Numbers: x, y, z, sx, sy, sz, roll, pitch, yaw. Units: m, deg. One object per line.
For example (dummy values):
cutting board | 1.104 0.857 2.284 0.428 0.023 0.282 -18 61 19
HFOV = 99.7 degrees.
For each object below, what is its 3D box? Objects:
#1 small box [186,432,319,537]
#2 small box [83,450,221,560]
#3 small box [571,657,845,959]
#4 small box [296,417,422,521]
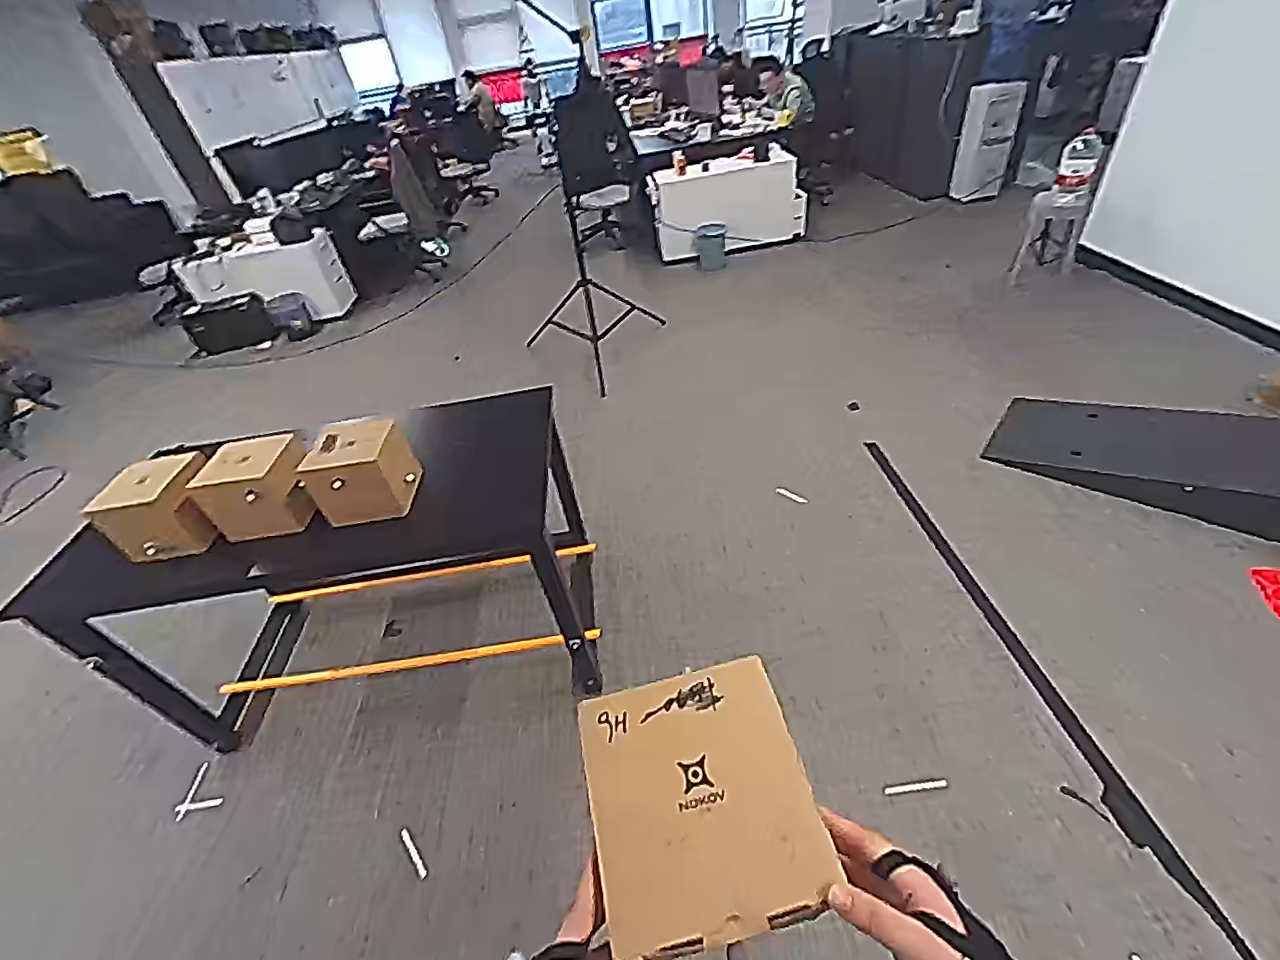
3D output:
small box | -0.874 0.012 1.255 0.179 0.176 0.168 -9 39 2
small box | -1.089 0.058 1.249 0.168 0.176 0.179 -11 41 1
small box | 0.049 0.283 0.462 0.168 0.176 0.179 -14 49 -4
small box | -0.635 -0.022 1.246 0.179 0.176 0.168 -8 40 1
